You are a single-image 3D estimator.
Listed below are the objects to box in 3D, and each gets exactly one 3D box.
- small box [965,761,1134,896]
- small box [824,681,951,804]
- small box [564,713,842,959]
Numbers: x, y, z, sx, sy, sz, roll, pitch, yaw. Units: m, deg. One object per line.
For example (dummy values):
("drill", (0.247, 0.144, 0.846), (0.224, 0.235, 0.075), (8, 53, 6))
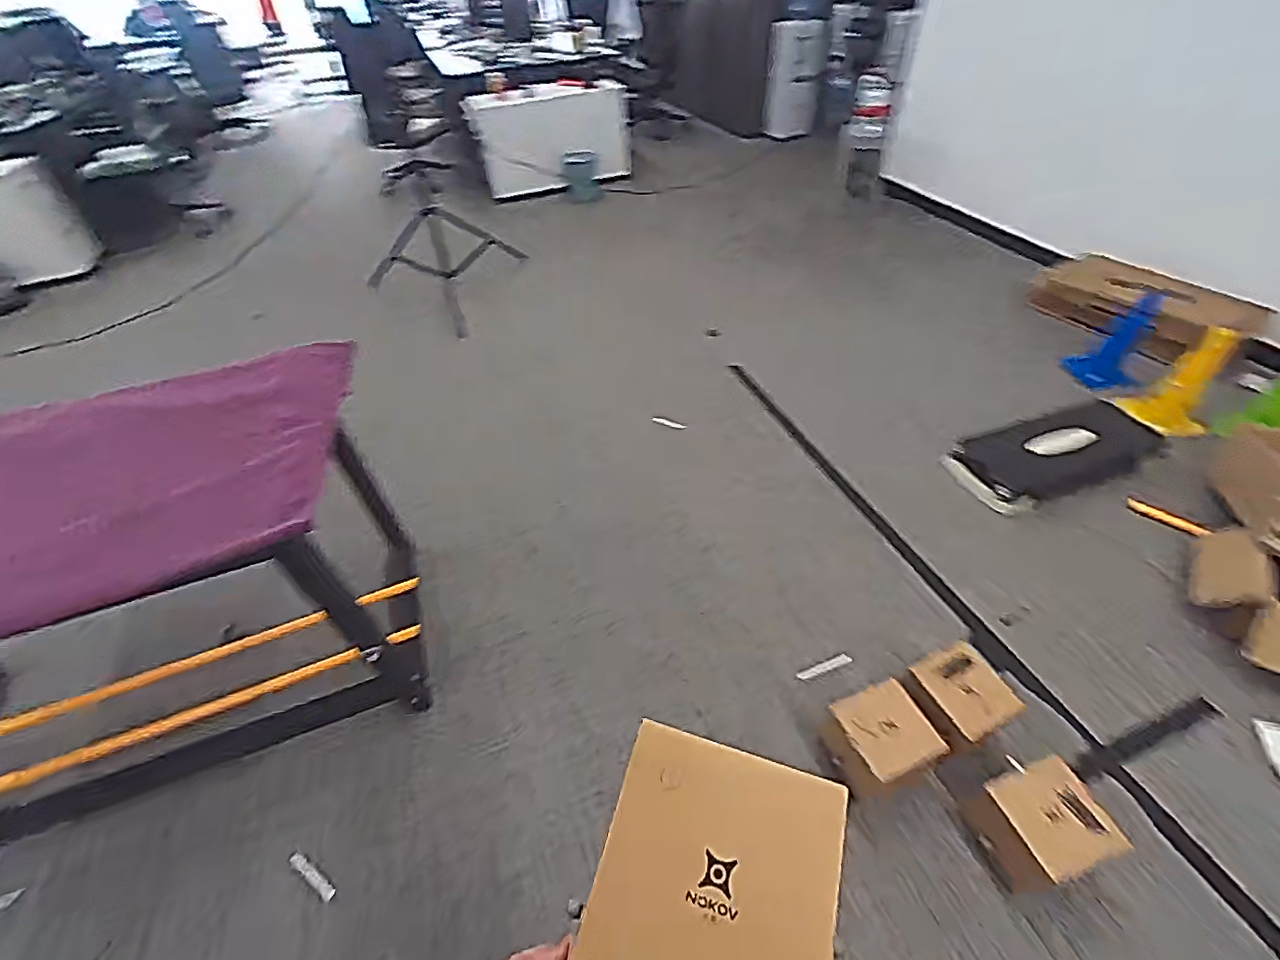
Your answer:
("small box", (0.797, 0.694, 1.076), (0.179, 0.176, 0.168), (-16, 47, -10))
("small box", (0.537, 0.584, 1.201), (0.179, 0.176, 0.168), (-18, 47, -13))
("small box", (0.050, 0.318, 0.436), (0.168, 0.176, 0.179), (13, 56, 11))
